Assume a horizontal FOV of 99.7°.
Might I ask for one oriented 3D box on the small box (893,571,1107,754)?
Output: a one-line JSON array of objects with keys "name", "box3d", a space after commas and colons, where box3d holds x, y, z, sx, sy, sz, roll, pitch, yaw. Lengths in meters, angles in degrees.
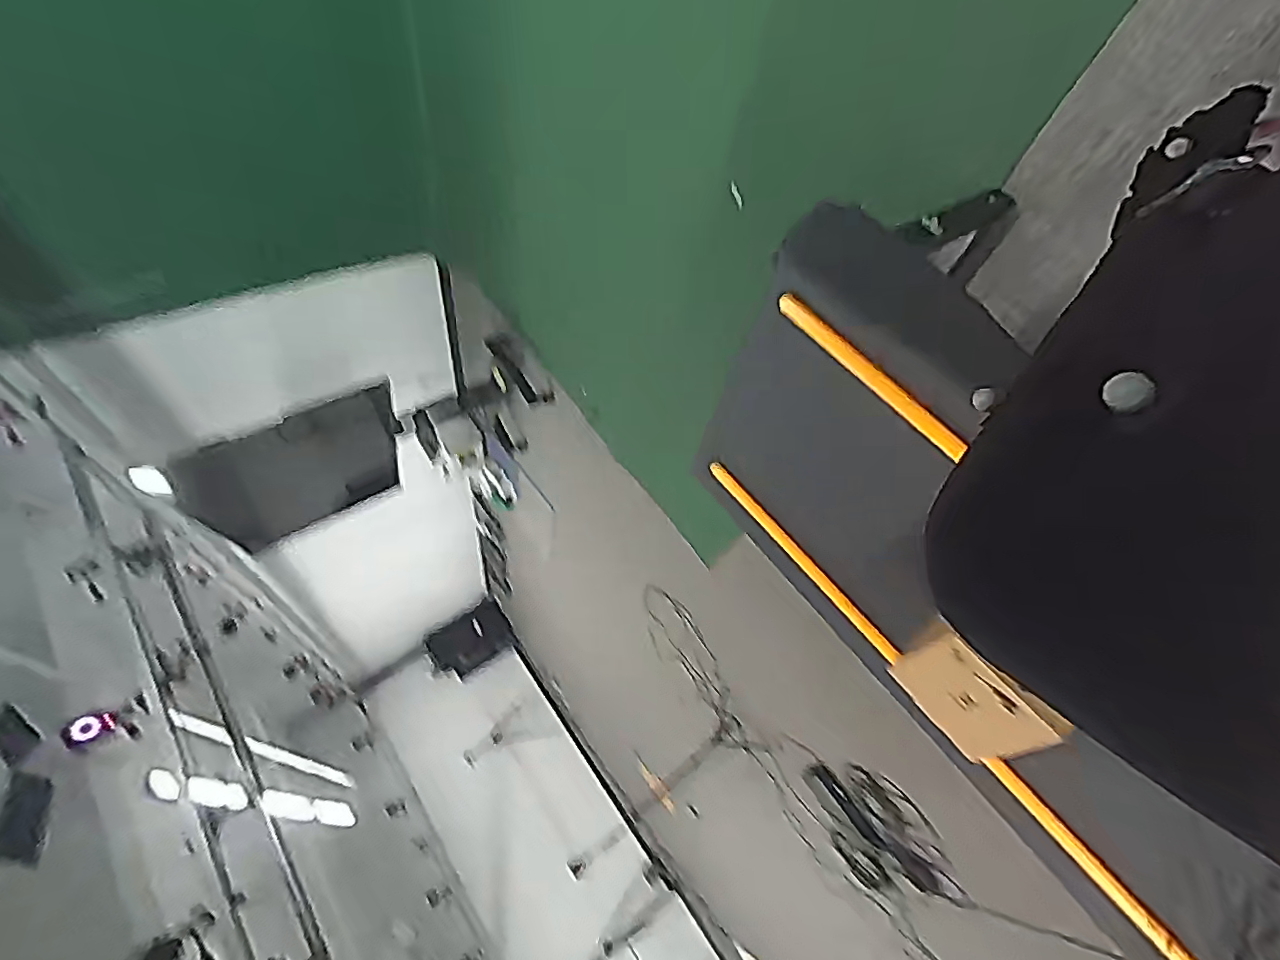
[{"name": "small box", "box3d": [0.526, 0.268, 0.799, 0.168, 0.176, 0.179, 48, 151, 23]}]
